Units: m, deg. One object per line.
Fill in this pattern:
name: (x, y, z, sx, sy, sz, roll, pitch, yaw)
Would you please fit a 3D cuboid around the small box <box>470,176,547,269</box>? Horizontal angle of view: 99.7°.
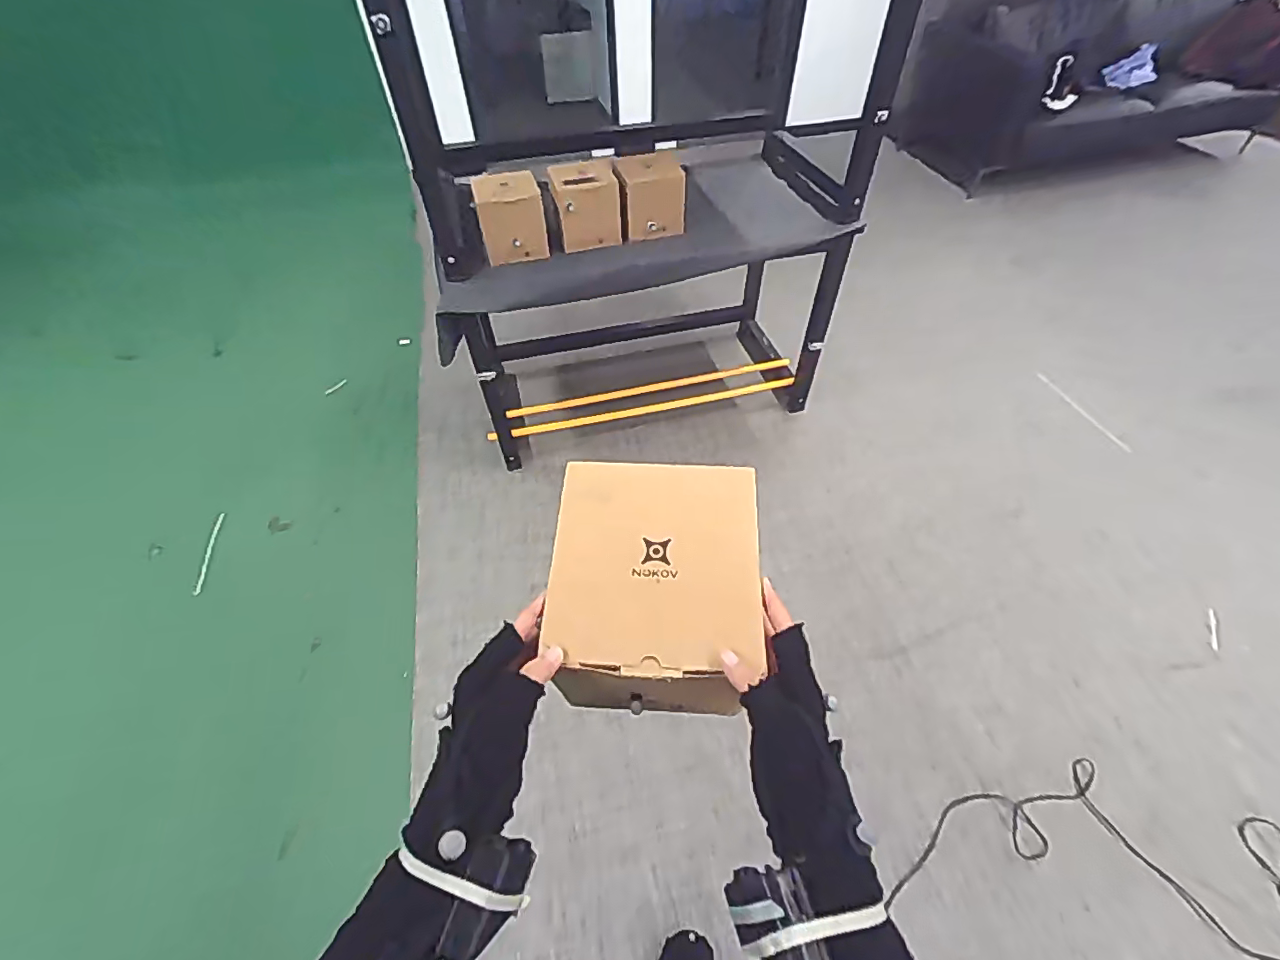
small box: (-0.356, -0.700, 1.470, 0.168, 0.176, 0.179, -13, 50, -10)
